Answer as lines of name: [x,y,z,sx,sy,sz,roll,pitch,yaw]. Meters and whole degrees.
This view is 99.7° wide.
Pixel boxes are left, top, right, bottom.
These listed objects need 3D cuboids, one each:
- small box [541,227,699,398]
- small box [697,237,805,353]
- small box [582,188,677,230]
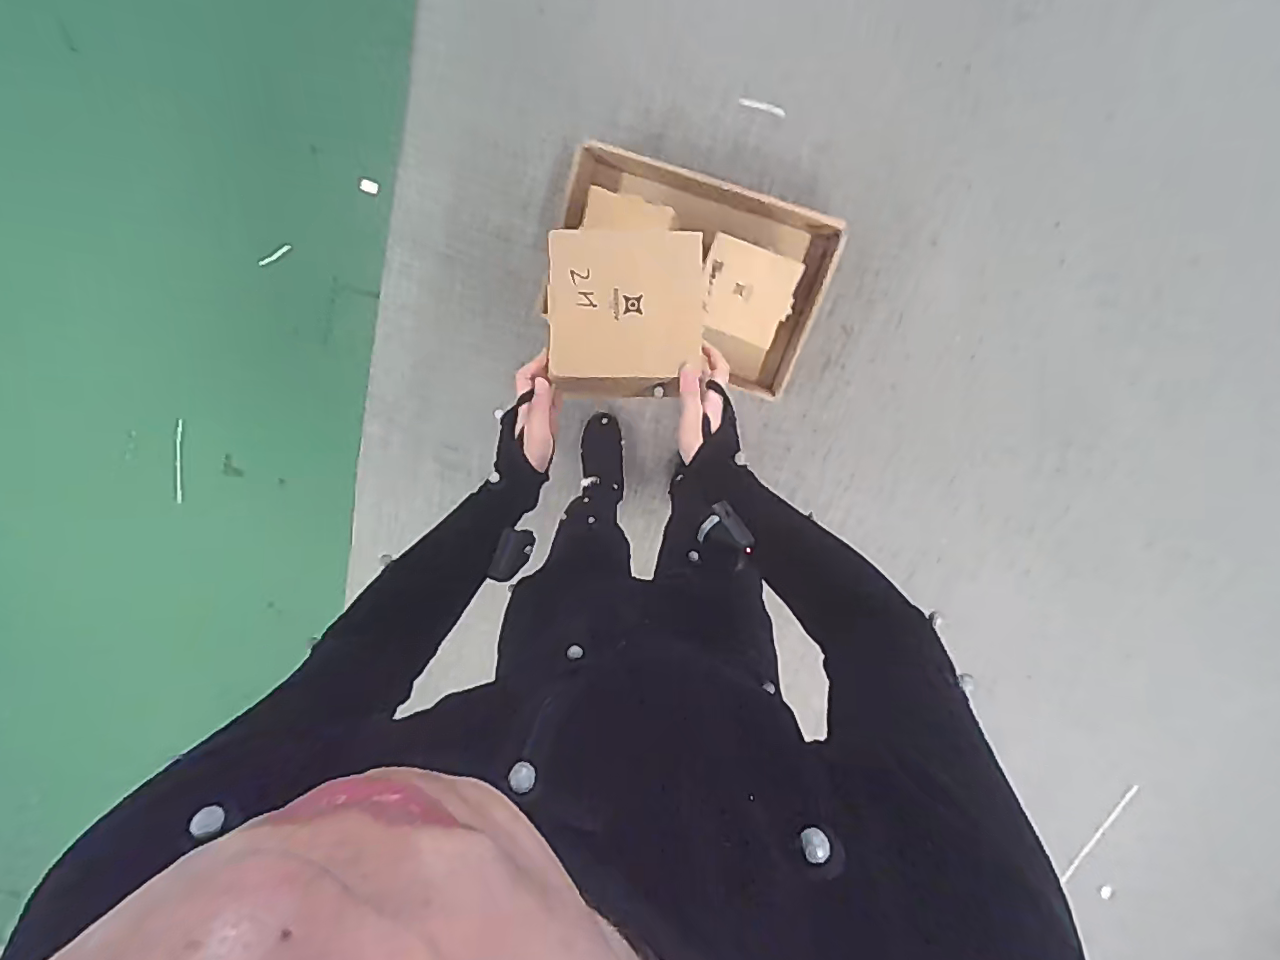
small box: [-0.024,-0.197,0.676,0.179,0.176,0.168,0,91,-1]
small box: [0.211,-0.373,1.097,0.179,0.176,0.168,23,109,3]
small box: [-0.026,-0.471,1.116,0.168,0.176,0.179,18,108,3]
